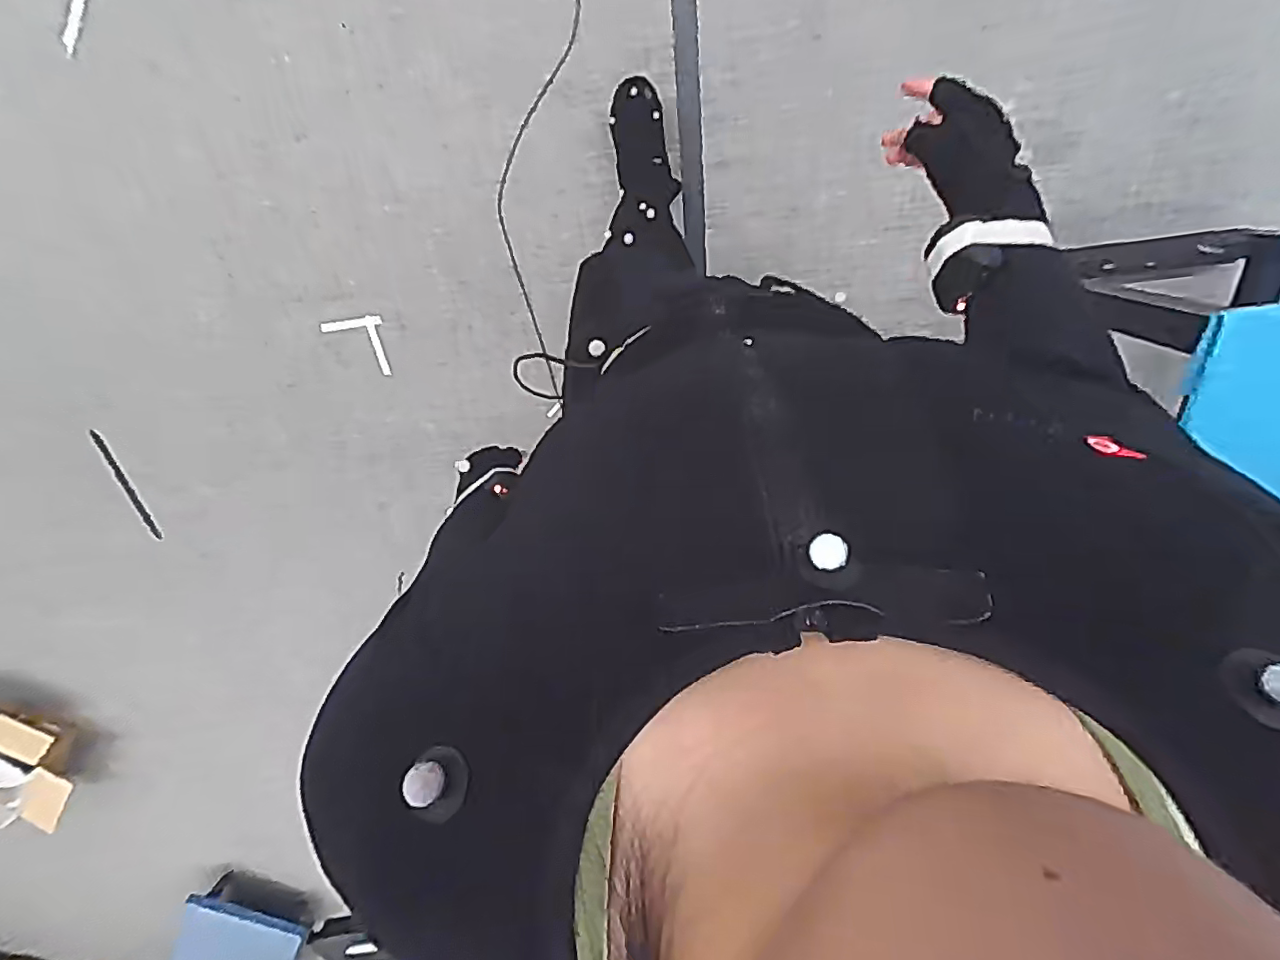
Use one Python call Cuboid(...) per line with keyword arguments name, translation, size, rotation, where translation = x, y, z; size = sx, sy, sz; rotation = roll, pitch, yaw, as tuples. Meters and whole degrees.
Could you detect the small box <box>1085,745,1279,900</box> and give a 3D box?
Cuboid(name="small box", translation=(0.902, 0.572, 0.896), size=(0.179, 0.176, 0.168), rotation=(-5, 117, 6))
